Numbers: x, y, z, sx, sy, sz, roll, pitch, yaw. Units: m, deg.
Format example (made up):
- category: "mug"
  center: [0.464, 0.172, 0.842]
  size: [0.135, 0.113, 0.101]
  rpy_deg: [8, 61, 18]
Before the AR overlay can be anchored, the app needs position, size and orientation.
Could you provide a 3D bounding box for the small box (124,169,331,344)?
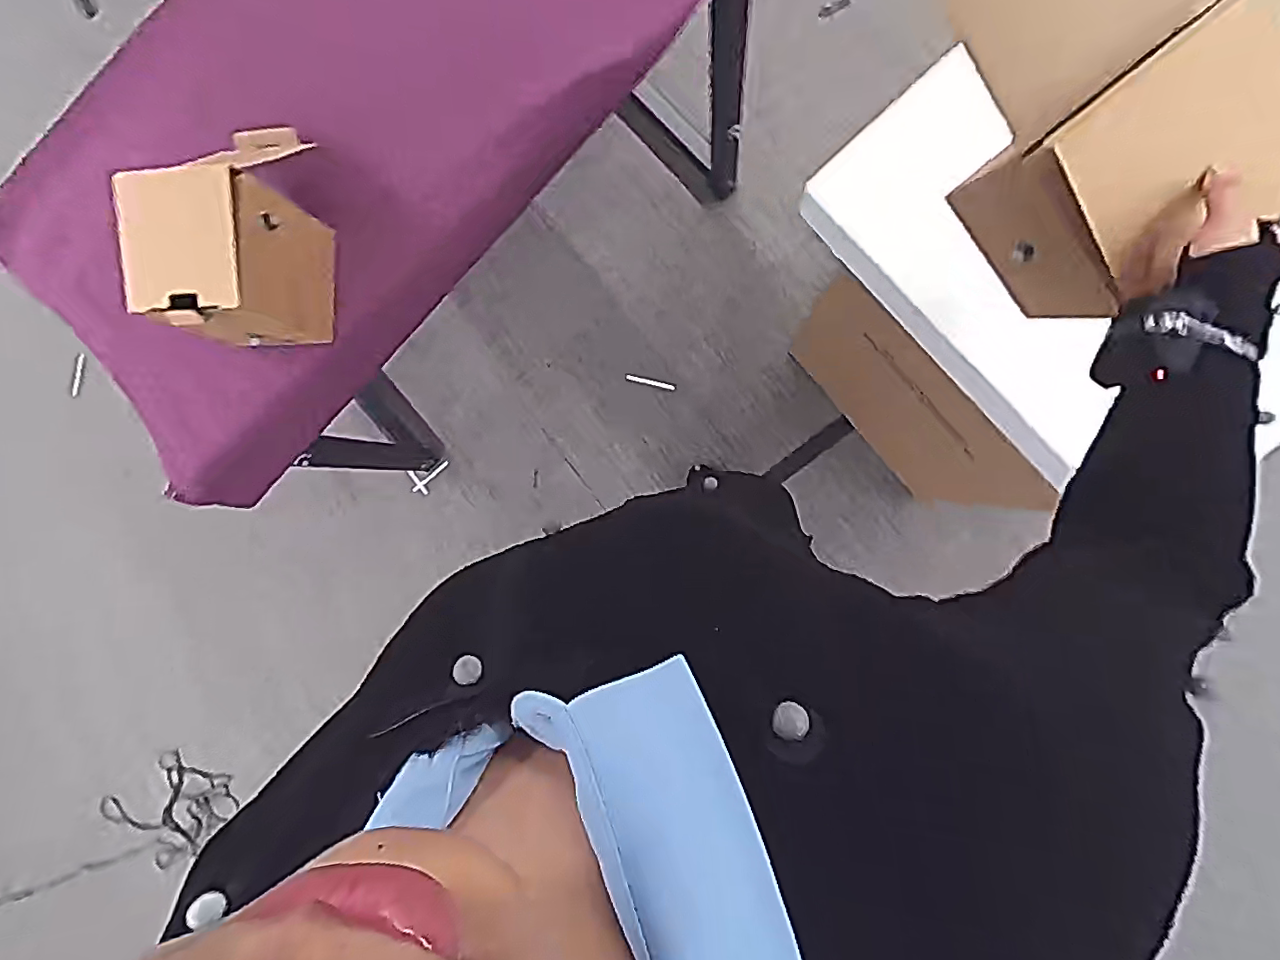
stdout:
- category: "small box"
  center: [-0.566, -0.302, 0.764]
  size: [0.168, 0.176, 0.179]
  rpy_deg: [0, 89, 9]
